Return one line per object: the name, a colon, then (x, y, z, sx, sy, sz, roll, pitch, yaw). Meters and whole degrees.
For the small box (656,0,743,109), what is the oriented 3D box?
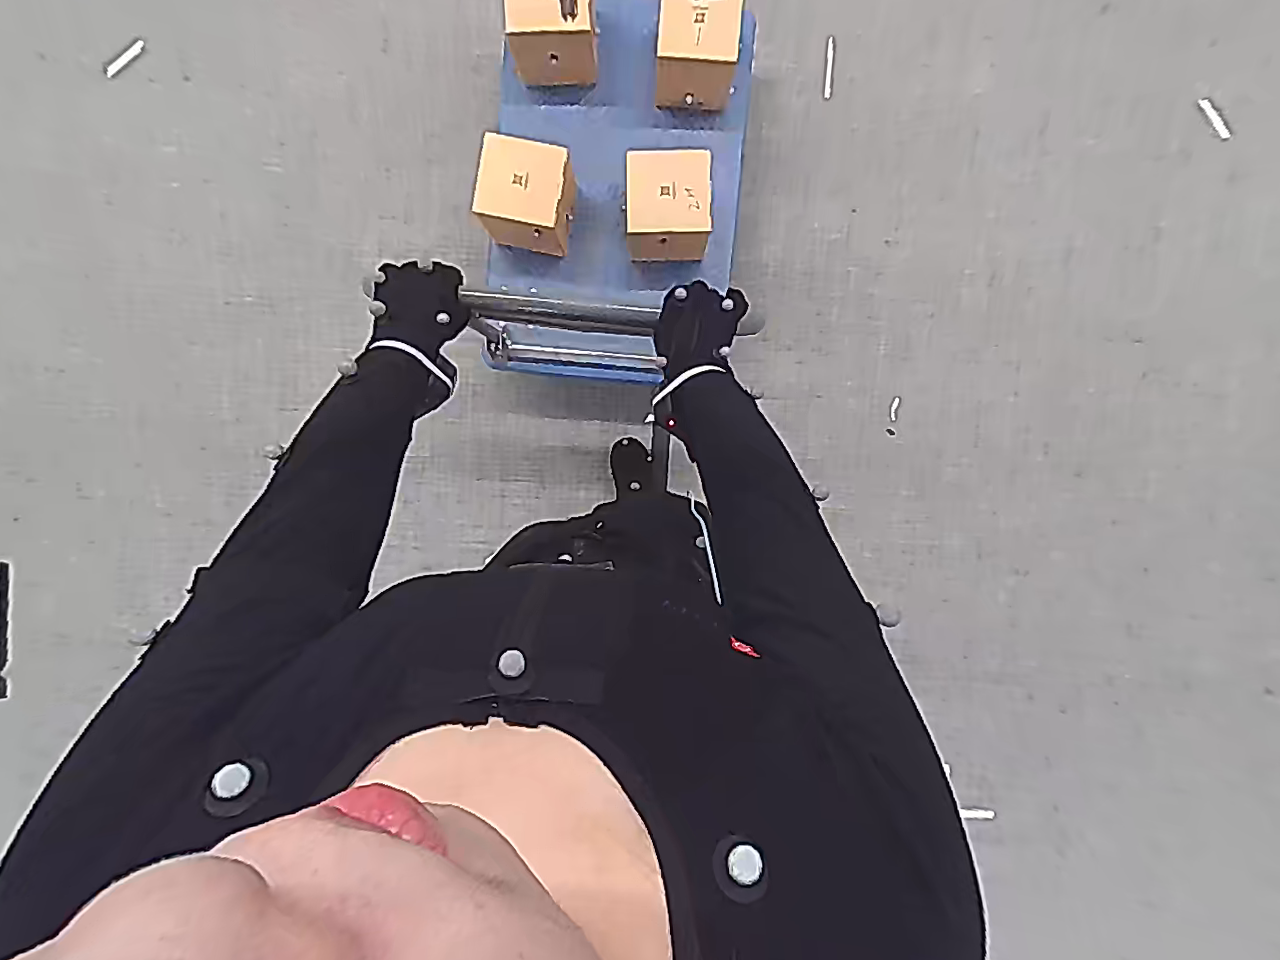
small box: (0.124, -0.949, 1.169, 0.168, 0.176, 0.179, 5, 95, 1)

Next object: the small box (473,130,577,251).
small box: (-0.246, -0.629, 1.194, 0.179, 0.176, 0.168, 11, 93, -1)

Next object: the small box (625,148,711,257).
small box: (0.060, -0.603, 1.191, 0.179, 0.176, 0.168, 0, 94, 1)
